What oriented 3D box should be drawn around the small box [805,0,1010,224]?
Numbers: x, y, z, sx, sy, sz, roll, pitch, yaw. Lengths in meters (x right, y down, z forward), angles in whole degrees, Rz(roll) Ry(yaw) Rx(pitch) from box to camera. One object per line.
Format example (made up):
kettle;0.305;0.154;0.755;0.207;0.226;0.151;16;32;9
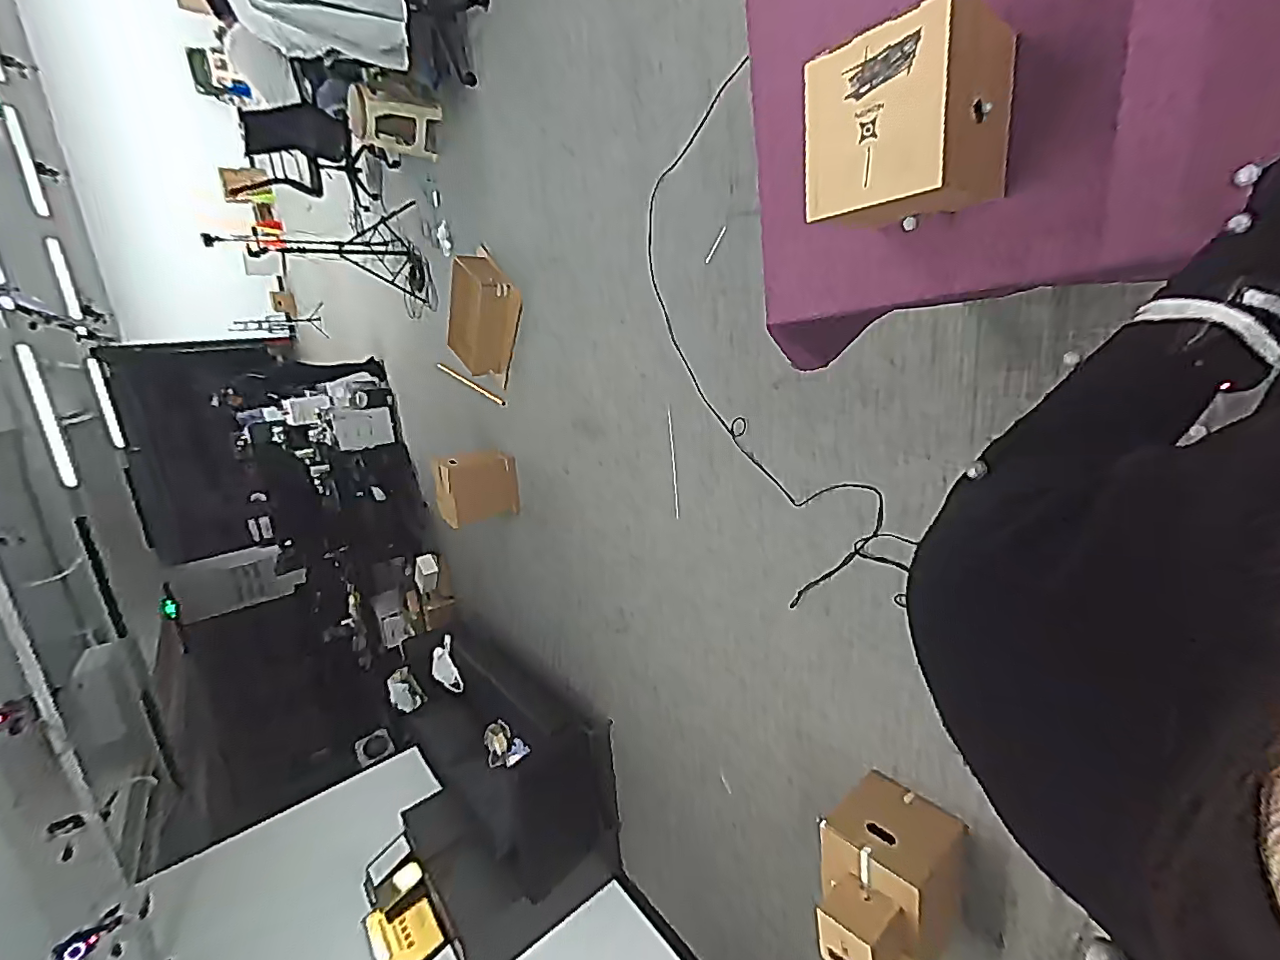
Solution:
small box;0.316;-0.417;0.644;0.168;0.176;0.179;13;114;50
